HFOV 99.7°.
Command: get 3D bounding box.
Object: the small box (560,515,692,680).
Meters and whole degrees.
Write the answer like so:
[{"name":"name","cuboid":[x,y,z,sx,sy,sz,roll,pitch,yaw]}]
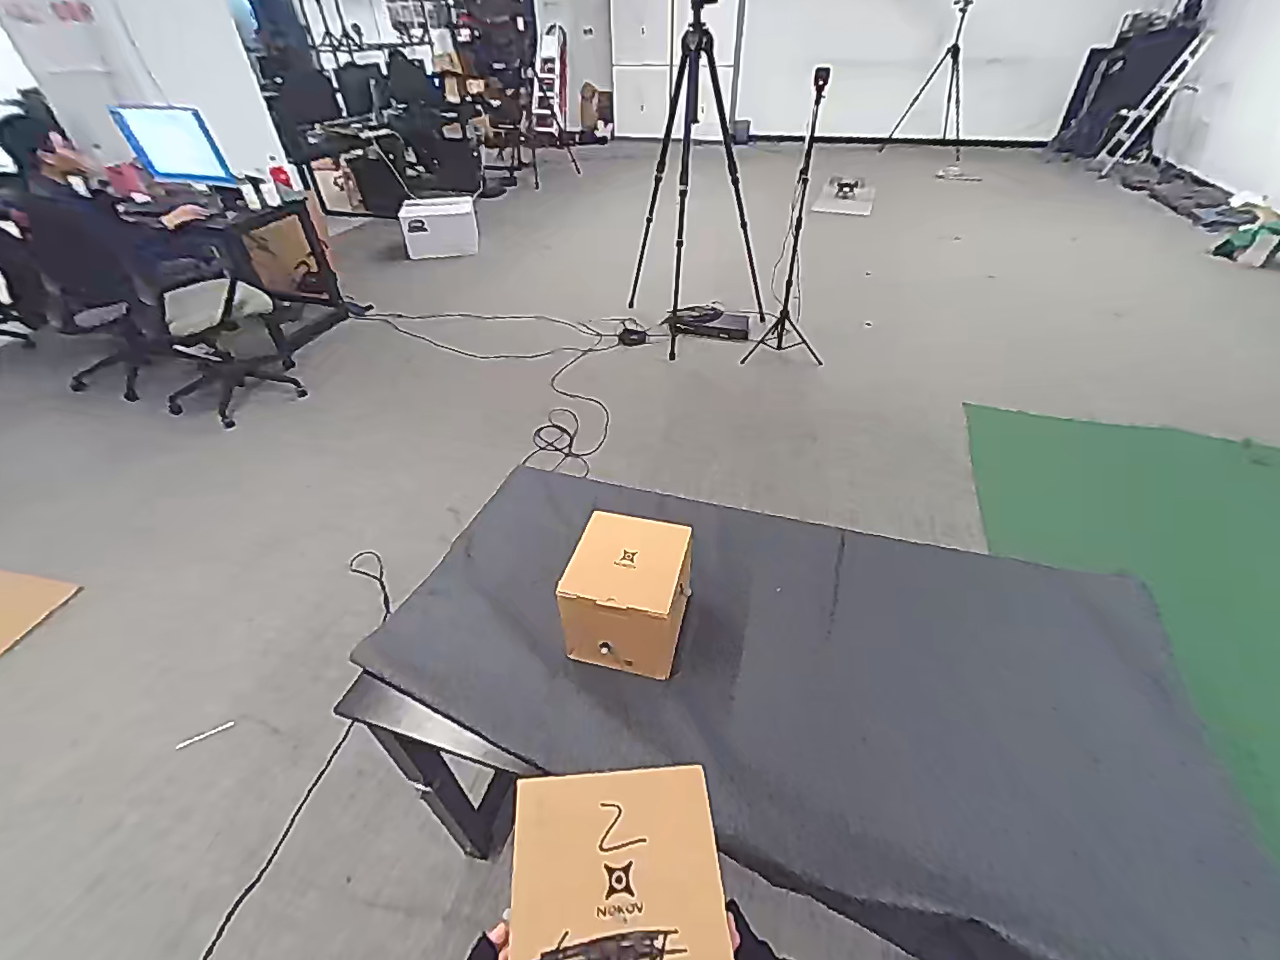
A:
[{"name":"small box","cuboid":[-0.017,0.187,0.870,0.168,0.176,0.179,10,42,12]}]
